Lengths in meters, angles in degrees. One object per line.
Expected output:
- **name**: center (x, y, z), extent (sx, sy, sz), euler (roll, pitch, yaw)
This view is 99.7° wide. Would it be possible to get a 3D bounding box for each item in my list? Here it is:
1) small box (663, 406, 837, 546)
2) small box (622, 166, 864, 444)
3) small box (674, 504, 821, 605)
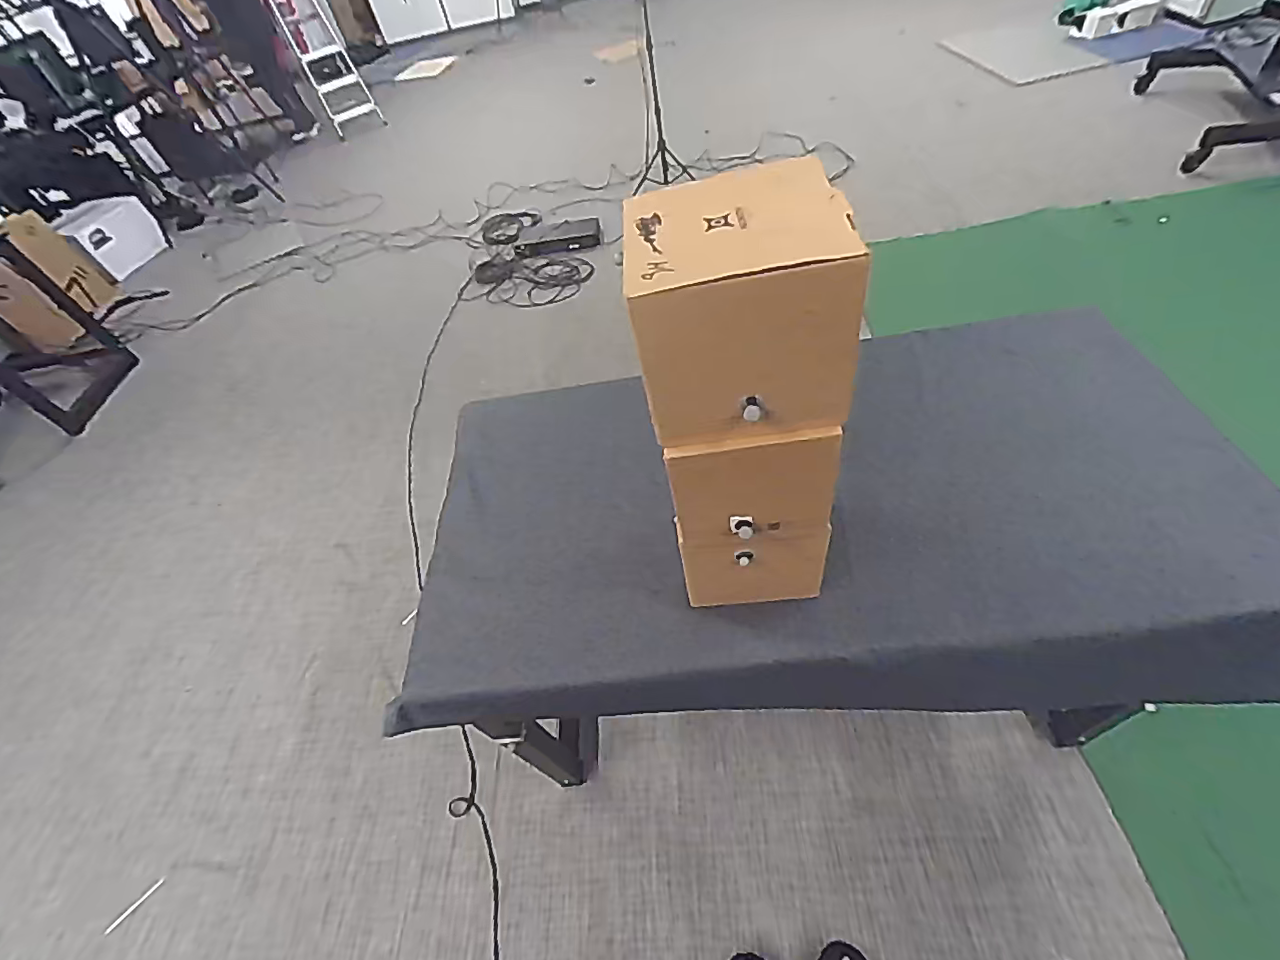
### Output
- **small box**: center (0.114, -0.047, 0.620), extent (0.168, 0.176, 0.179), euler (-9, 51, 7)
- **small box**: center (0.084, -0.153, 0.498), extent (0.179, 0.176, 0.168), euler (-7, 50, 7)
- **small box**: center (0.143, 0.063, 0.756), extent (0.179, 0.176, 0.168), euler (-6, 51, 6)
